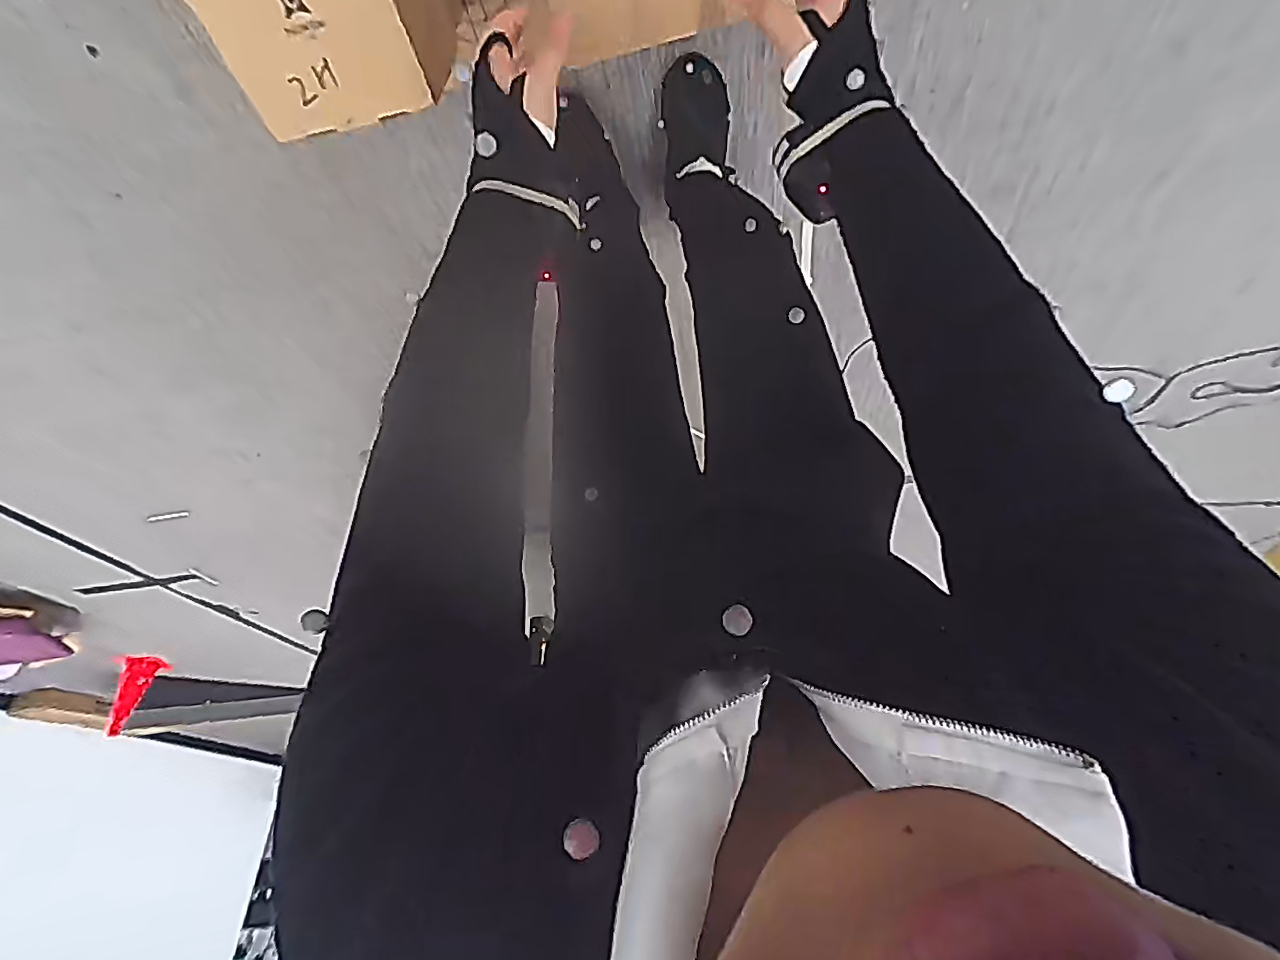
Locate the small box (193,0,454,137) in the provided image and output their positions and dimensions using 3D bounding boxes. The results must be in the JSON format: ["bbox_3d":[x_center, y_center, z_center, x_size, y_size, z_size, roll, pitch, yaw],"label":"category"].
[{"bbox_3d":[-0.293,-0.462,0.503,0.168,0.176,0.179,-9,144,5],"label":"small box"}]

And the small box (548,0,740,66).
[{"bbox_3d":[-0.012,-0.511,0.471,0.168,0.176,0.179,-9,144,9],"label":"small box"}]
